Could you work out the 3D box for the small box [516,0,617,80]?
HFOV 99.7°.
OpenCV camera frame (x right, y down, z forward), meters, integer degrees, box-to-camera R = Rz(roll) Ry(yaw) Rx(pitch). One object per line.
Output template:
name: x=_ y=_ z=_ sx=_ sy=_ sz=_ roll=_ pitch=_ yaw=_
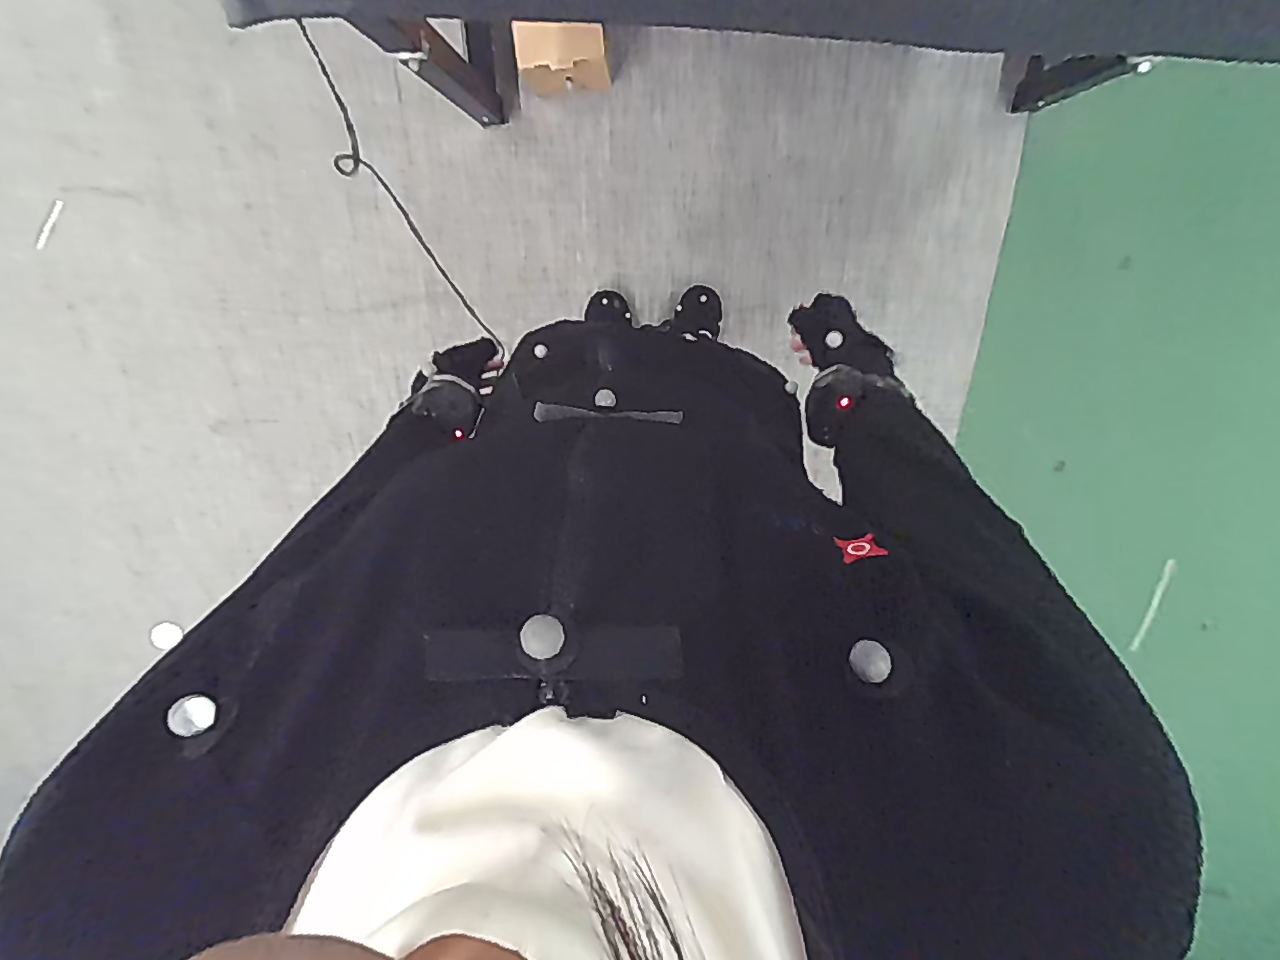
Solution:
small box: x=-0.138 y=-0.896 z=1.038 sx=0.168 sy=0.176 sz=0.179 roll=-4 pitch=113 yaw=4
